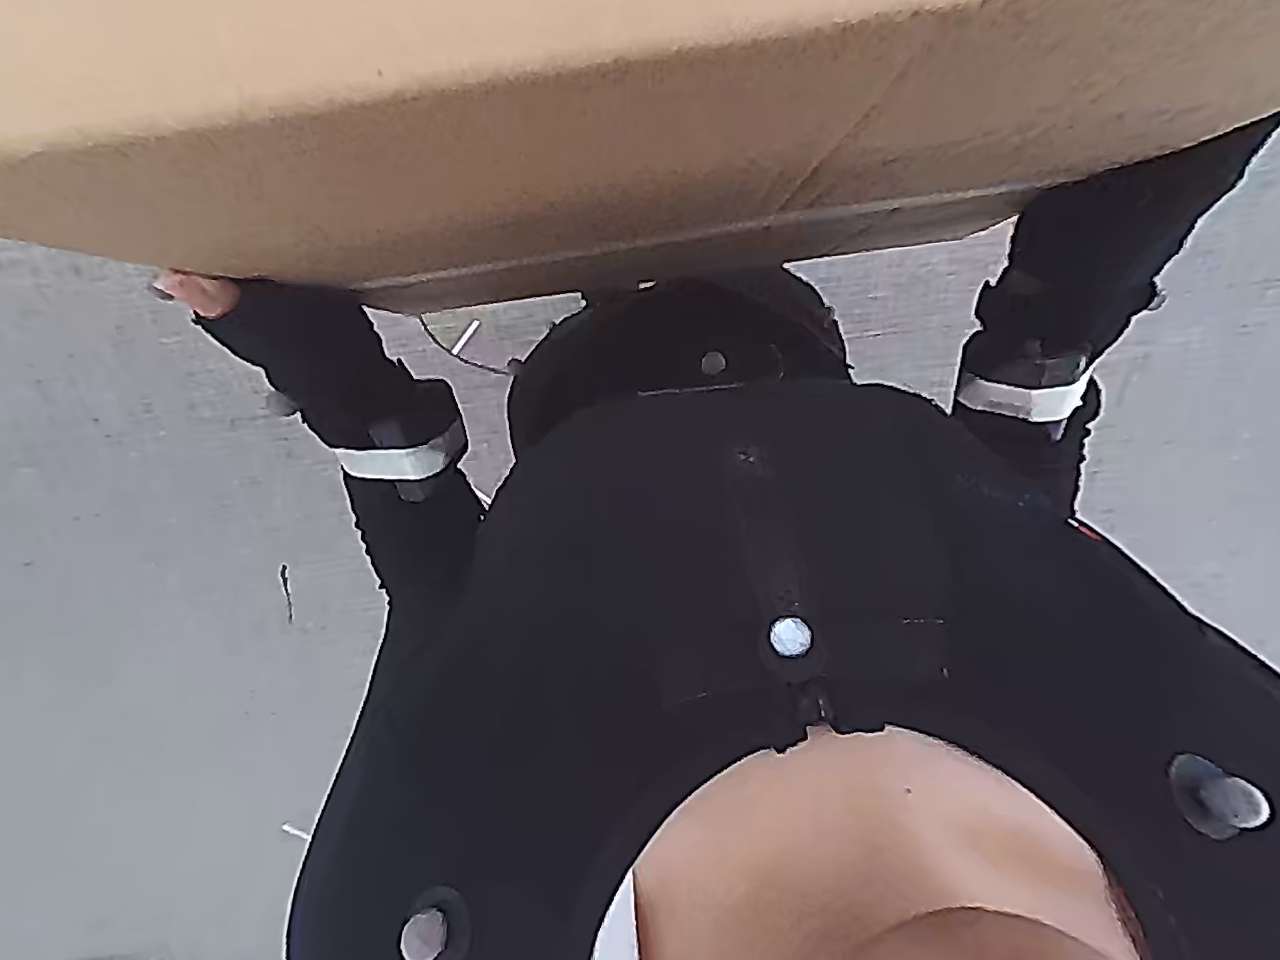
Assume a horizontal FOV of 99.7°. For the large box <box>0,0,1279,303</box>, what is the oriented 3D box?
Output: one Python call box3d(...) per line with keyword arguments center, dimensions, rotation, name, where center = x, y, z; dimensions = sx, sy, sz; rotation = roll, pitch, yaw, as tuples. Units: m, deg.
box3d(center=(0.003, -0.276, 0.229), dimensions=(0.408, 0.320, 0.320), rotation=(-7, 103, 2), name="large box")
